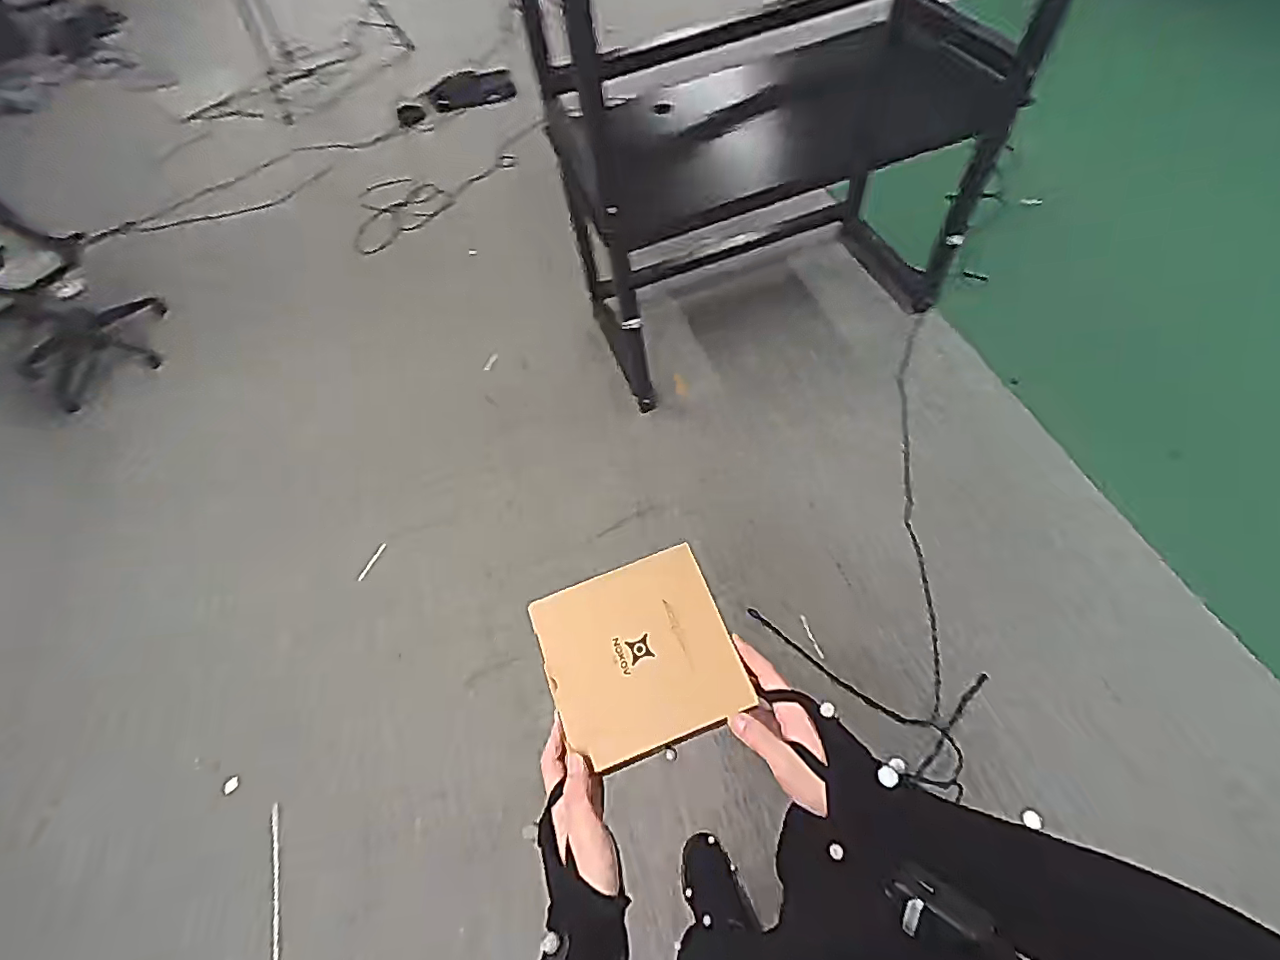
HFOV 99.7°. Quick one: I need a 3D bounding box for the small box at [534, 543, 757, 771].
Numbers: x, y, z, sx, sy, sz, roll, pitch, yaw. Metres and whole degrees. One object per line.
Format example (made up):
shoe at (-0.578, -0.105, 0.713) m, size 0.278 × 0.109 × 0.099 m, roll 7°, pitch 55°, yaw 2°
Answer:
small box at (0.008, 0.195, 0.576) m, size 0.179 × 0.176 × 0.168 m, roll -20°, pitch 62°, yaw -4°
